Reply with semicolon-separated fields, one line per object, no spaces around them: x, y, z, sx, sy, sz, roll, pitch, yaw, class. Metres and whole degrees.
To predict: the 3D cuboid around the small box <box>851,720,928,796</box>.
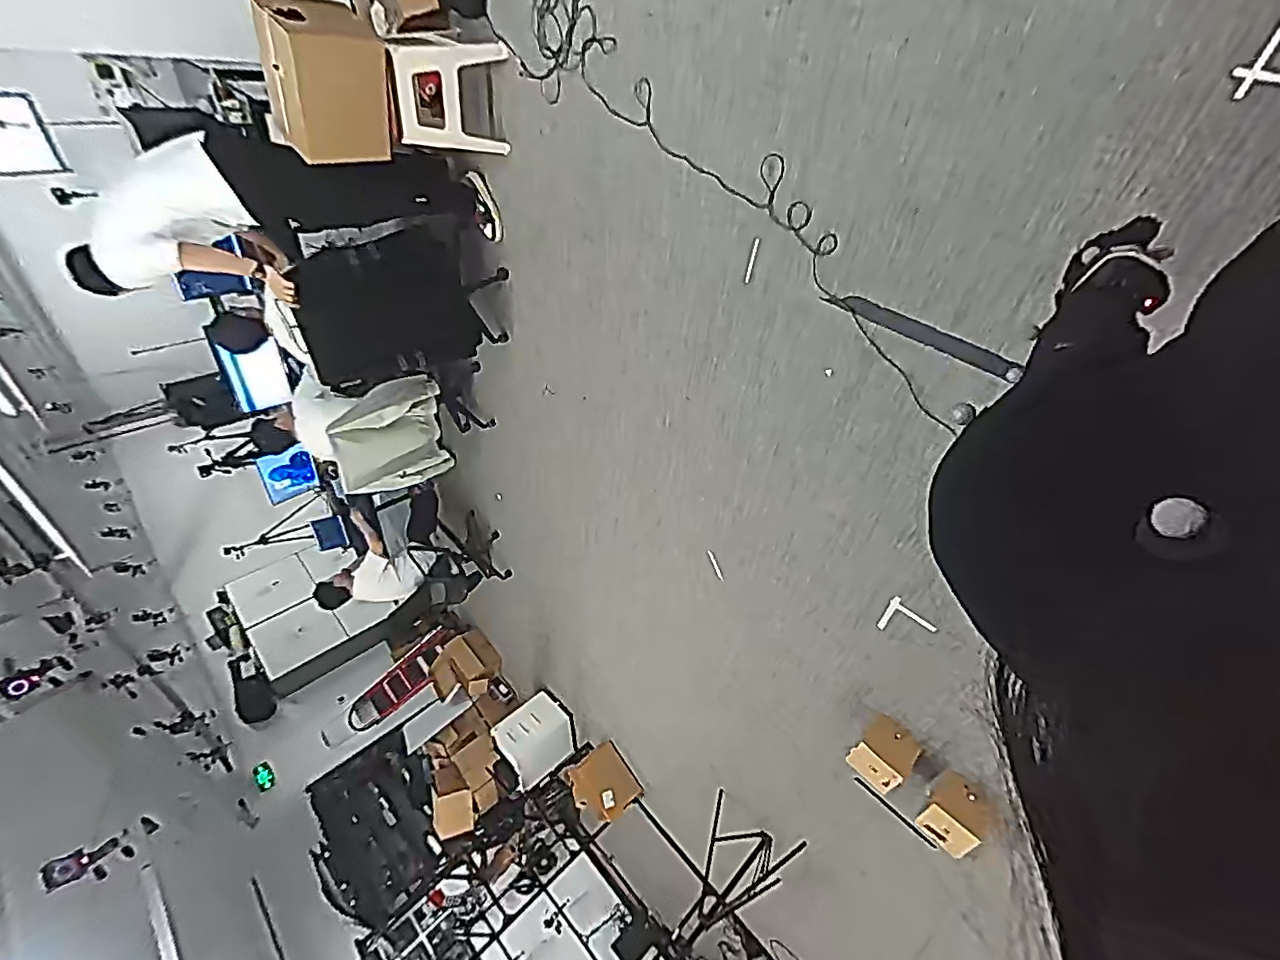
0.945;1.042;2.046;0.179;0.176;0.168;40;140;28;small box

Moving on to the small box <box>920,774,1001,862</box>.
1.134;1.188;1.908;0.168;0.176;0.179;36;137;30;small box
